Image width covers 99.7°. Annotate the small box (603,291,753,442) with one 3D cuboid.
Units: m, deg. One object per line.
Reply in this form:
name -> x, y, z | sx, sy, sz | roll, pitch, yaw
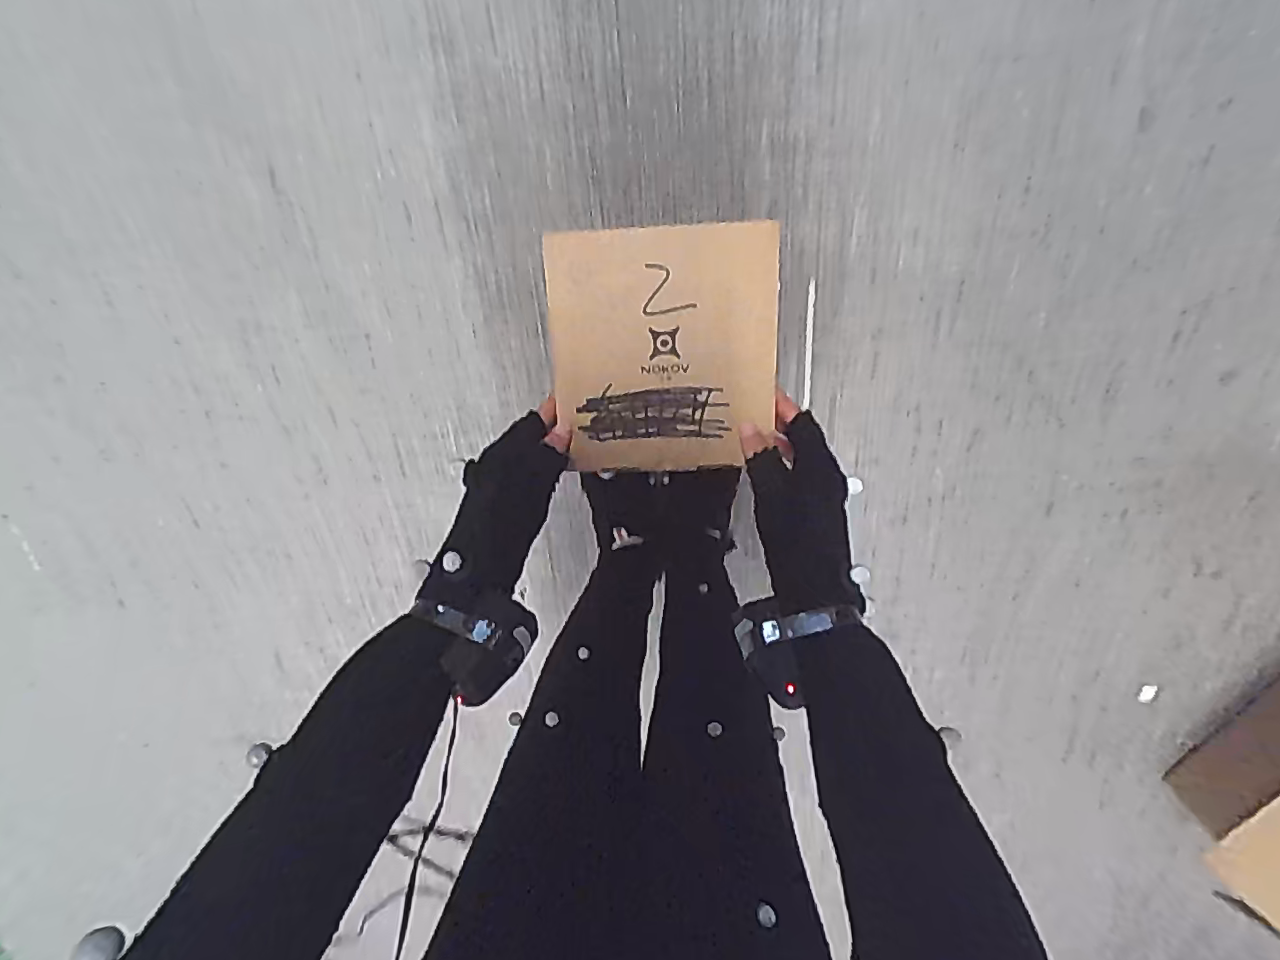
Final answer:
small box -> 0.056, -0.164, 0.755 | 0.179, 0.176, 0.168 | -6, 111, 8
